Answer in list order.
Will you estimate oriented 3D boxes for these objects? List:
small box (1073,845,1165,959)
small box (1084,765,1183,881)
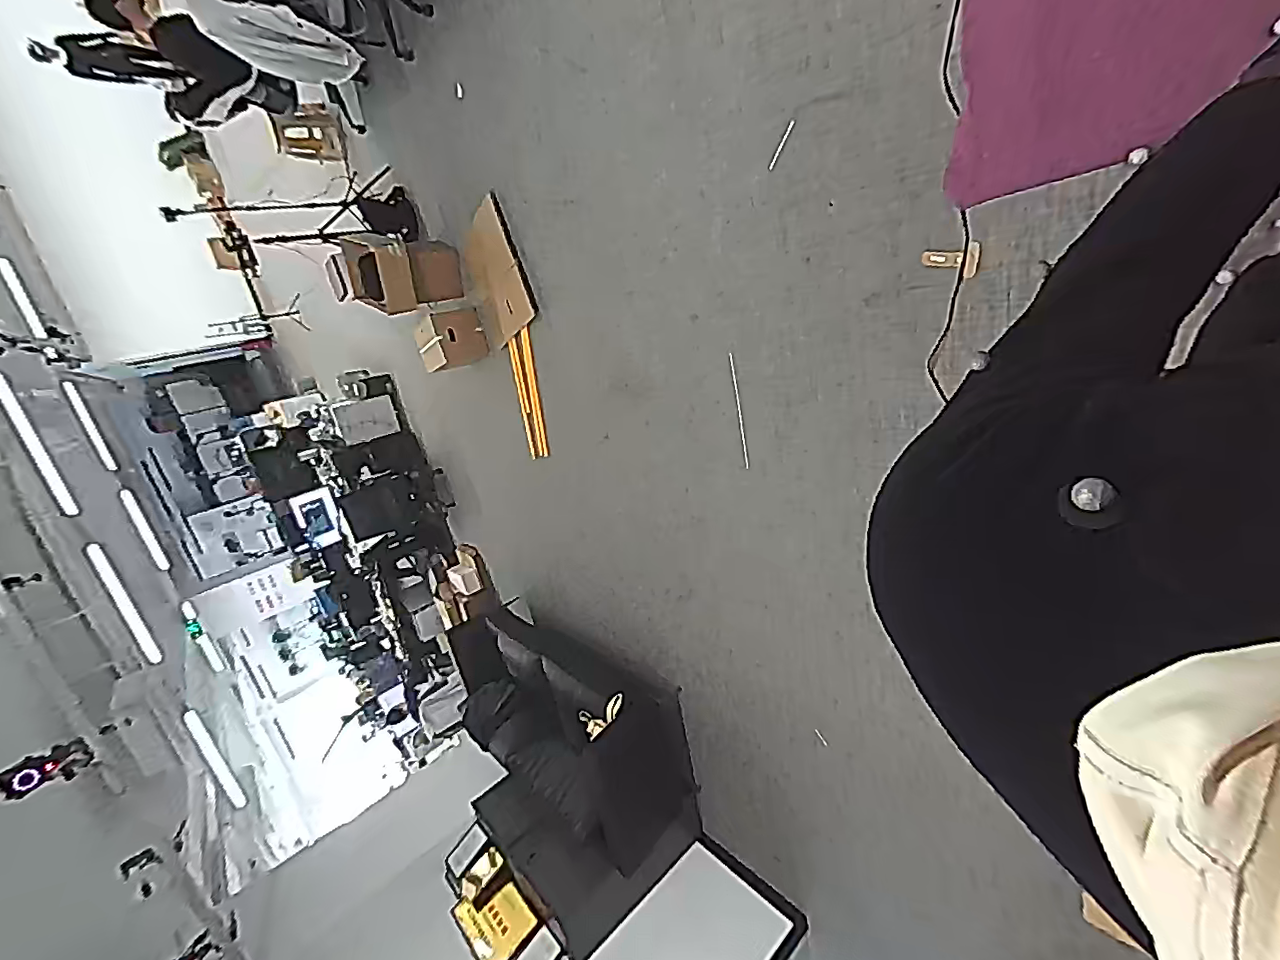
[{"bbox_3d":[1.412,1.235,1.594,0.179,0.176,0.168,11,118,49],"label":"small box"},{"bbox_3d":[1.359,0.932,1.489,0.179,0.176,0.168,10,118,50],"label":"small box"}]
